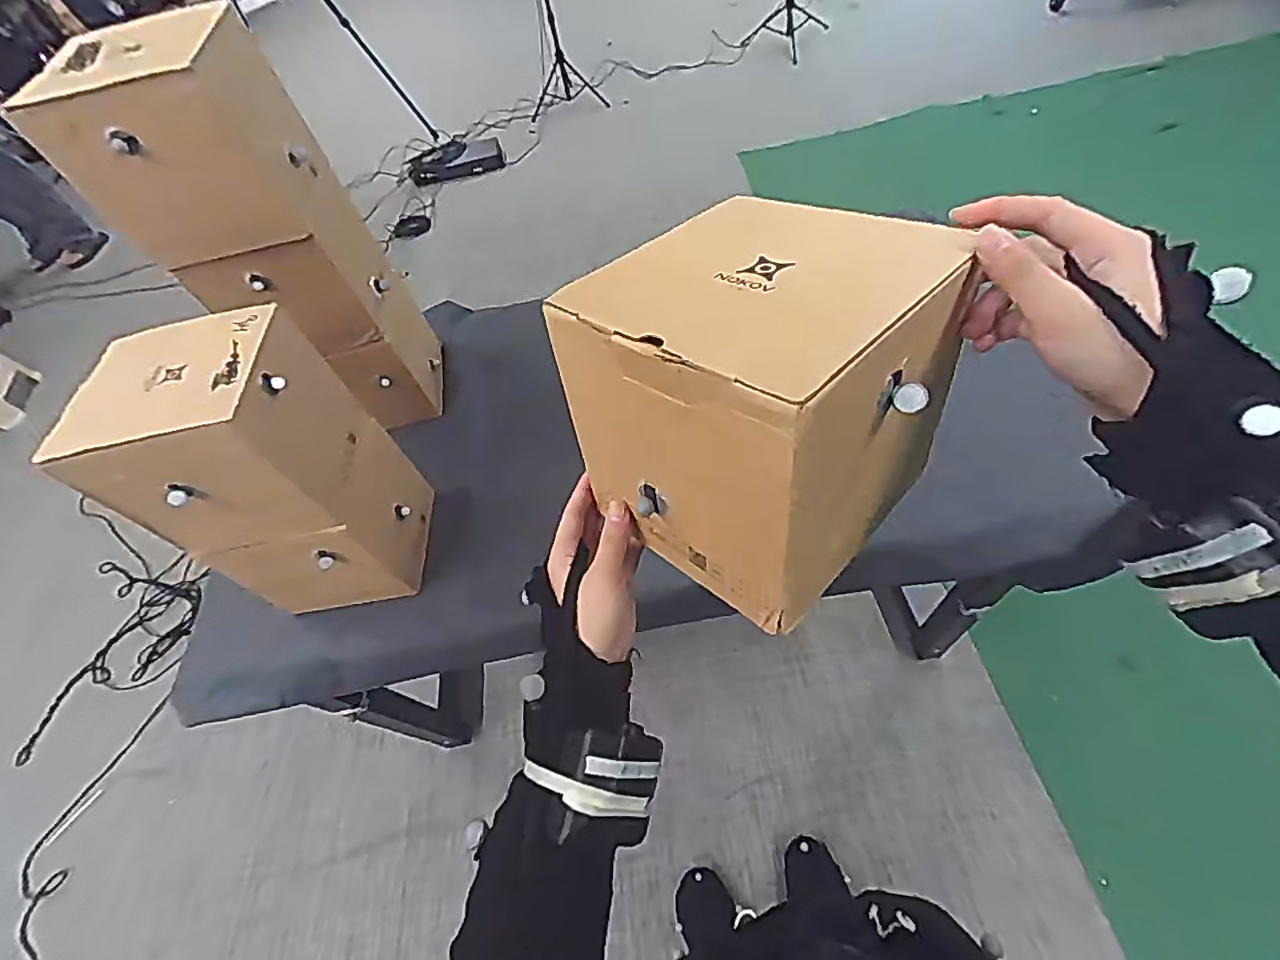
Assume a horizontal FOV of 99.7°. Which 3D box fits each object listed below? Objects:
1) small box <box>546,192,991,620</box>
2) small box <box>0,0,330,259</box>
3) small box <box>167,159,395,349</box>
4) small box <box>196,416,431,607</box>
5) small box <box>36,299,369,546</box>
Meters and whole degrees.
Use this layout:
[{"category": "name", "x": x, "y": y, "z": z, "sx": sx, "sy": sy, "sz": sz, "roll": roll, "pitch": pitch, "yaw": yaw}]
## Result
[{"category": "small box", "x": 0.073, "y": -0.053, "z": 0.337, "sx": 0.179, "sy": 0.176, "sz": 0.168, "roll": -39, "pitch": 51, "yaw": -25}, {"category": "small box", "x": -0.474, "y": -0.364, "z": 0.576, "sx": 0.179, "sy": 0.176, "sz": 0.168, "roll": -12, "pitch": 58, "yaw": 1}, {"category": "small box", "x": -0.456, "y": -0.284, "z": 0.719, "sx": 0.179, "sy": 0.176, "sz": 0.168, "roll": -14, "pitch": 58, "yaw": -1}, {"category": "small box", "x": -0.388, "y": 0.045, "z": 0.685, "sx": 0.179, "sy": 0.176, "sz": 0.168, "roll": -10, "pitch": 54, "yaw": 4}, {"category": "small box", "x": -0.416, "y": -0.050, "z": 0.555, "sx": 0.179, "sy": 0.176, "sz": 0.168, "roll": -13, "pitch": 54, "yaw": 2}]
